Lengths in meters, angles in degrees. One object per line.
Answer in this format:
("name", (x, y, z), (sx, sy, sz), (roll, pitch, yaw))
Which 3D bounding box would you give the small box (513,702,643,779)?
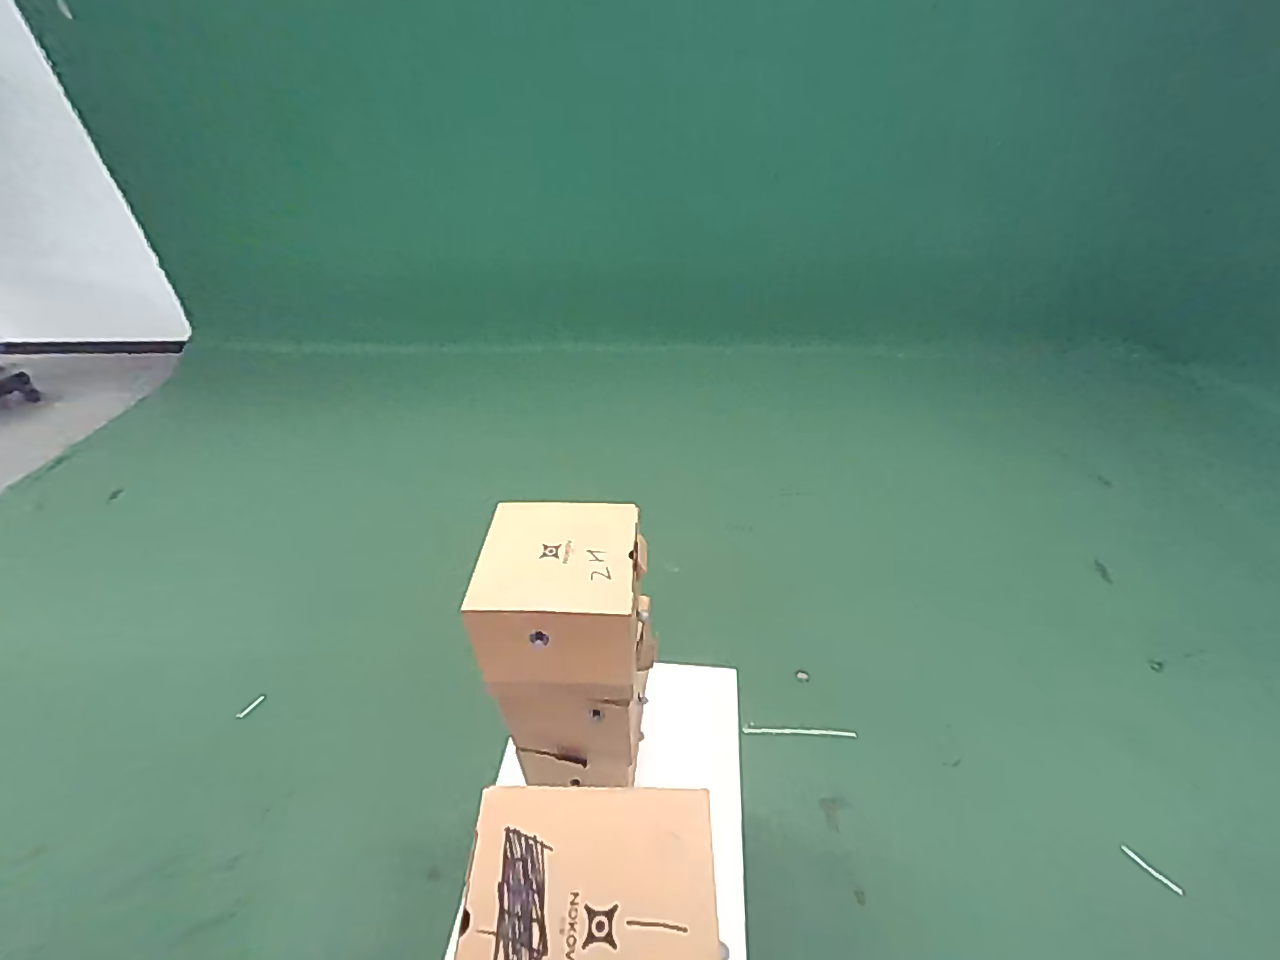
("small box", (-0.086, 0.384, 0.859), (0.168, 0.176, 0.179), (4, 40, 5))

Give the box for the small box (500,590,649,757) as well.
("small box", (-0.085, 0.260, 0.754), (0.179, 0.176, 0.168), (6, 39, 7))

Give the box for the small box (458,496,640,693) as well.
("small box", (-0.092, 0.136, 0.646), (0.179, 0.176, 0.168), (1, 40, 2))
